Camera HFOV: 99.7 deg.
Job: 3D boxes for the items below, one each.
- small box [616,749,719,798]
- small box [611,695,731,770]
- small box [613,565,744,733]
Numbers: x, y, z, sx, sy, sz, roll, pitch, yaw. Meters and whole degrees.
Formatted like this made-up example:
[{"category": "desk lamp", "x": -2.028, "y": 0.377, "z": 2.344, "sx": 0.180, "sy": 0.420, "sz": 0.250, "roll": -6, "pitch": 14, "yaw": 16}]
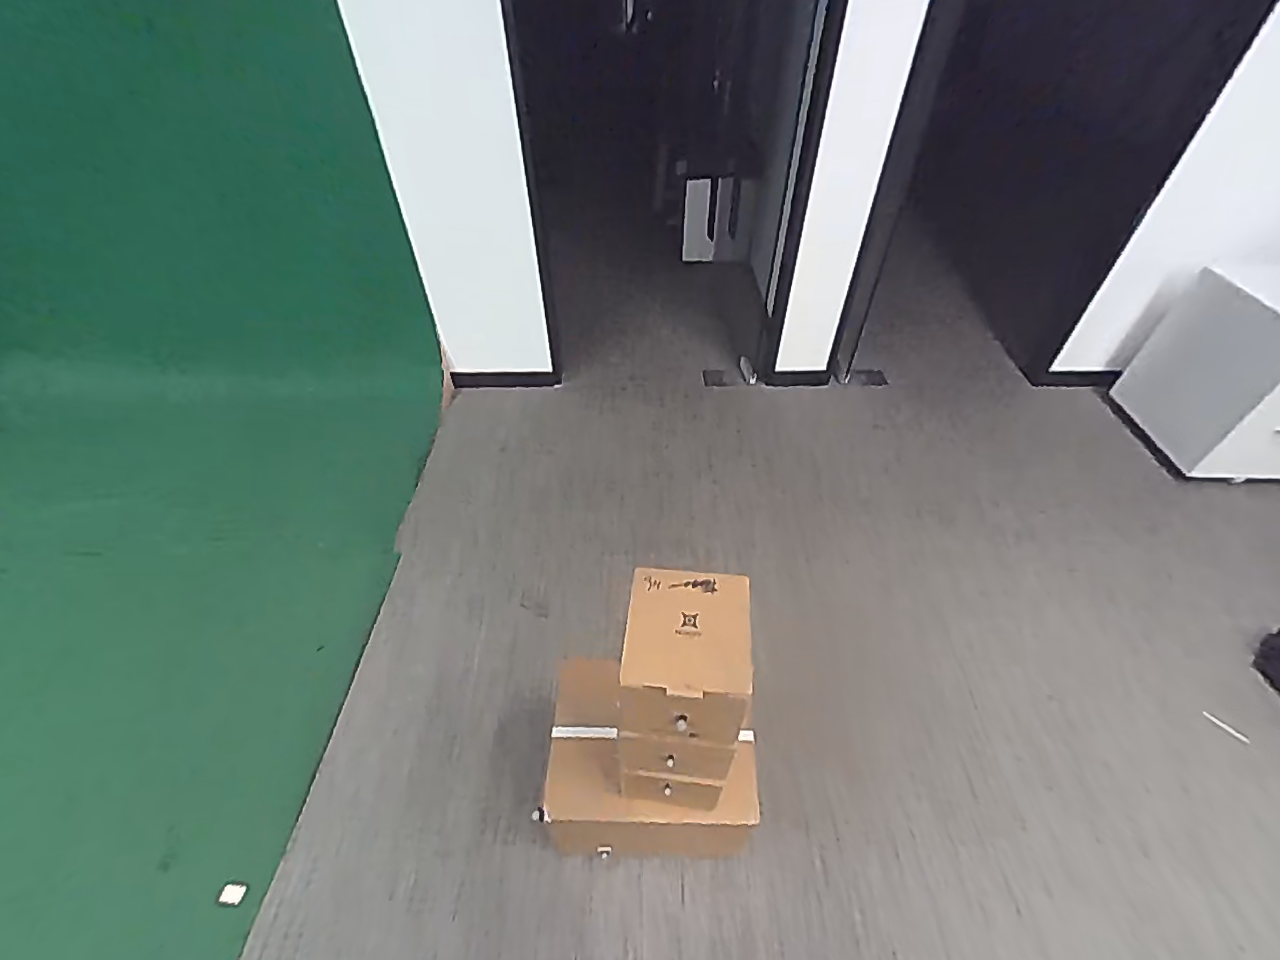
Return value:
[{"category": "small box", "x": 0.054, "y": 0.477, "z": 1.011, "sx": 0.179, "sy": 0.176, "sz": 0.168, "roll": 6, "pitch": 48, "yaw": 4}, {"category": "small box", "x": 0.056, "y": 0.364, "z": 0.894, "sx": 0.179, "sy": 0.176, "sz": 0.168, "roll": 3, "pitch": 48, "yaw": 7}, {"category": "small box", "x": 0.059, "y": 0.246, "z": 0.779, "sx": 0.168, "sy": 0.176, "sz": 0.179, "roll": 5, "pitch": 49, "yaw": 5}]
